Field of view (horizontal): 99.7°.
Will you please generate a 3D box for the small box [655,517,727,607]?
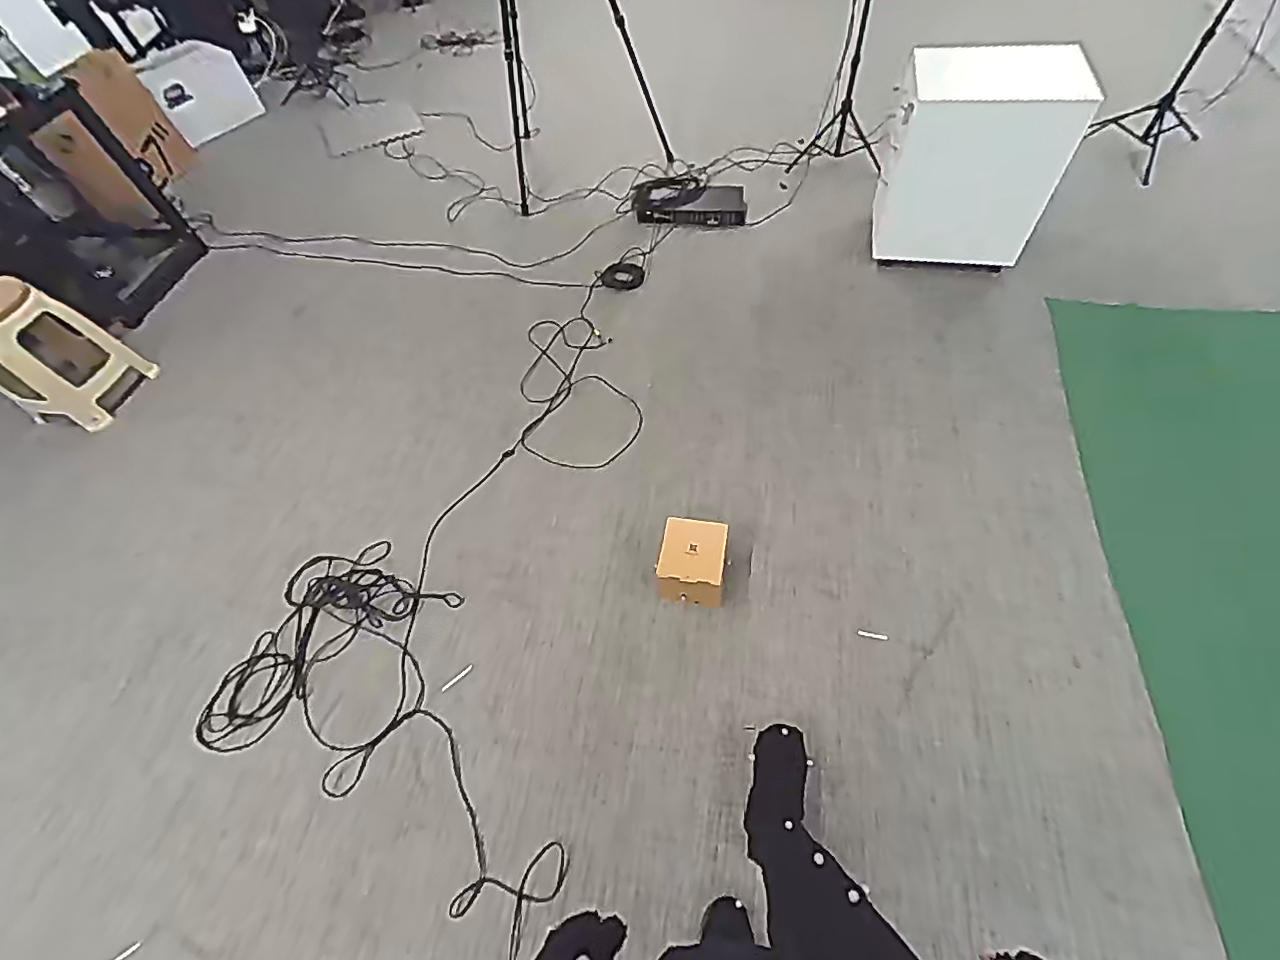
[{"bbox_3d":[0.141,0.225,1.471,0.168,0.176,0.179,6,58,11],"label":"small box"}]
